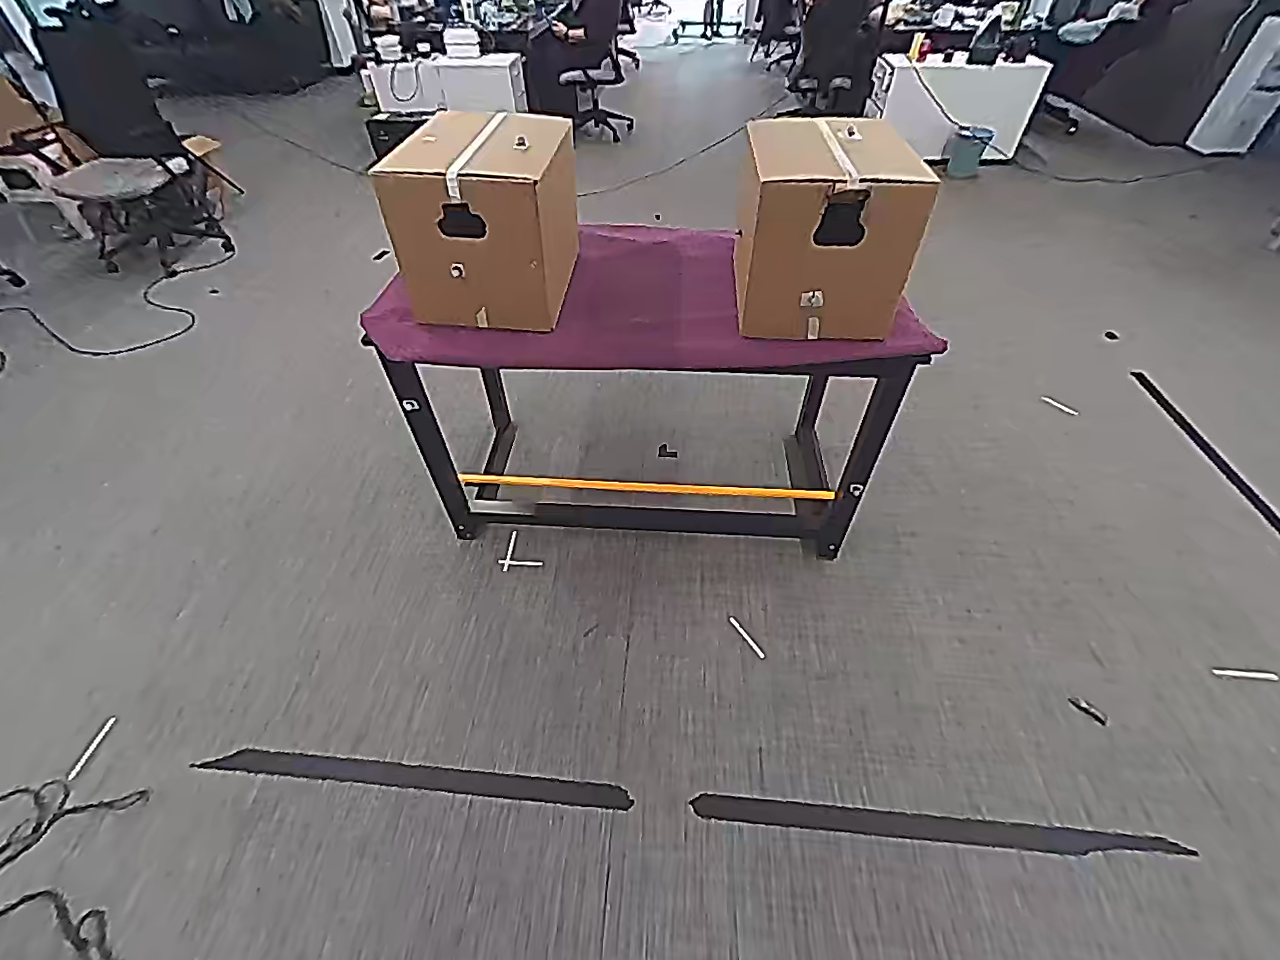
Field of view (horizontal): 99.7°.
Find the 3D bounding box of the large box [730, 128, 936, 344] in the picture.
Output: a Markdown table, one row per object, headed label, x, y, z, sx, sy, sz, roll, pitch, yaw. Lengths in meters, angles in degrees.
| label | x | y | z | sx | sy | sz | roll | pitch | yaw |
| --- | --- | --- | --- | --- | --- | --- | --- | --- | --- |
| large box | 0.374 | -0.535 | 1.180 | 0.320 | 0.320 | 0.408 | 2 | 45 | 3 |
